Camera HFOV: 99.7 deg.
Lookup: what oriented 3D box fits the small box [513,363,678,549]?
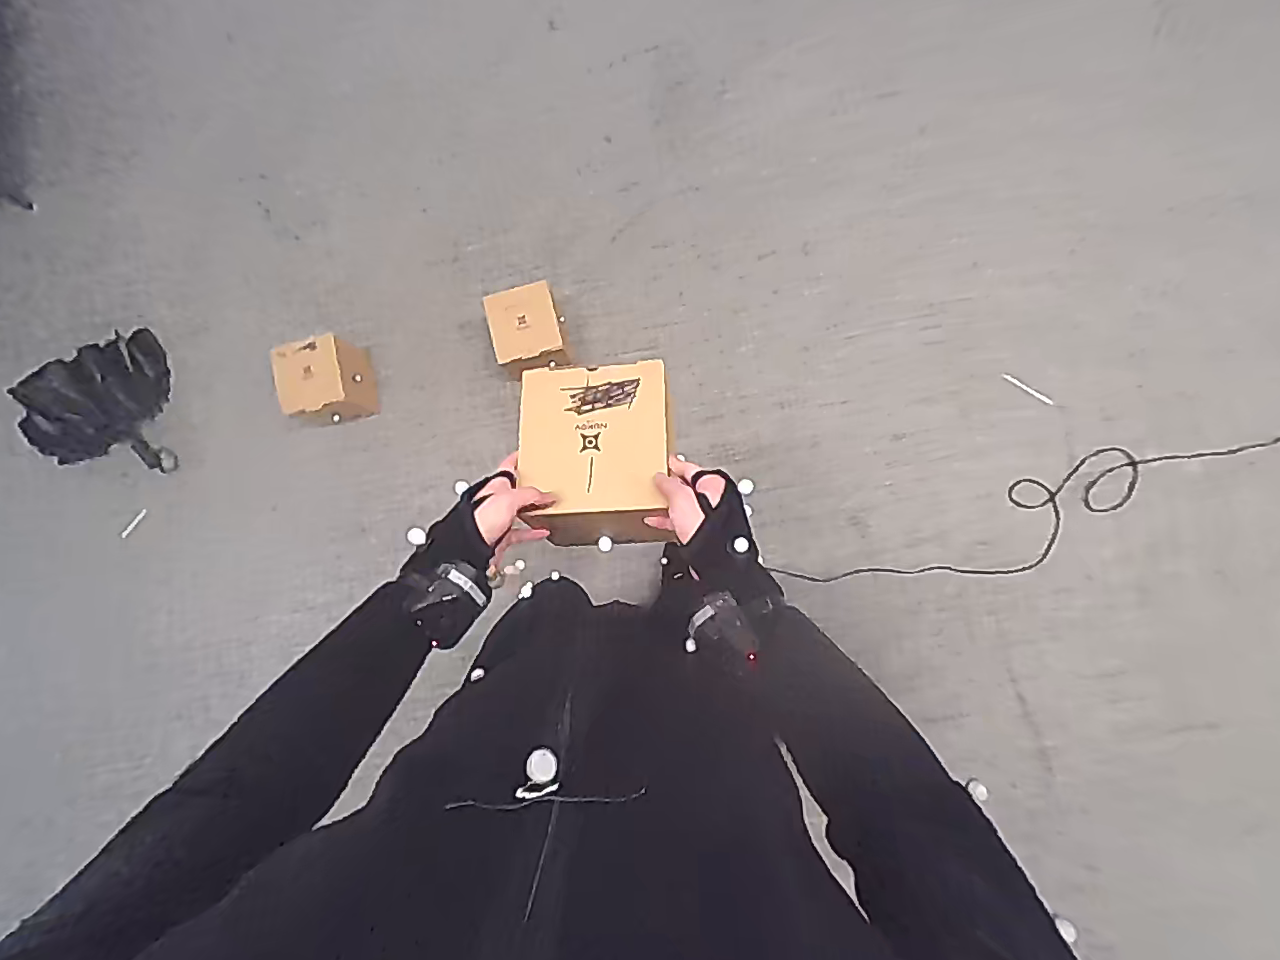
[{"bbox_3d":[-0.043,-0.021,0.662,0.168,0.176,0.179,-4,71,8],"label":"small box"}]

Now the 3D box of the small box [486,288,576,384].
[{"bbox_3d":[-0.274,-0.360,1.396,0.168,0.176,0.179,-16,83,2],"label":"small box"}]

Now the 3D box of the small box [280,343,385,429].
[{"bbox_3d":[-0.801,-0.237,1.425,0.168,0.176,0.179,-14,85,2],"label":"small box"}]
